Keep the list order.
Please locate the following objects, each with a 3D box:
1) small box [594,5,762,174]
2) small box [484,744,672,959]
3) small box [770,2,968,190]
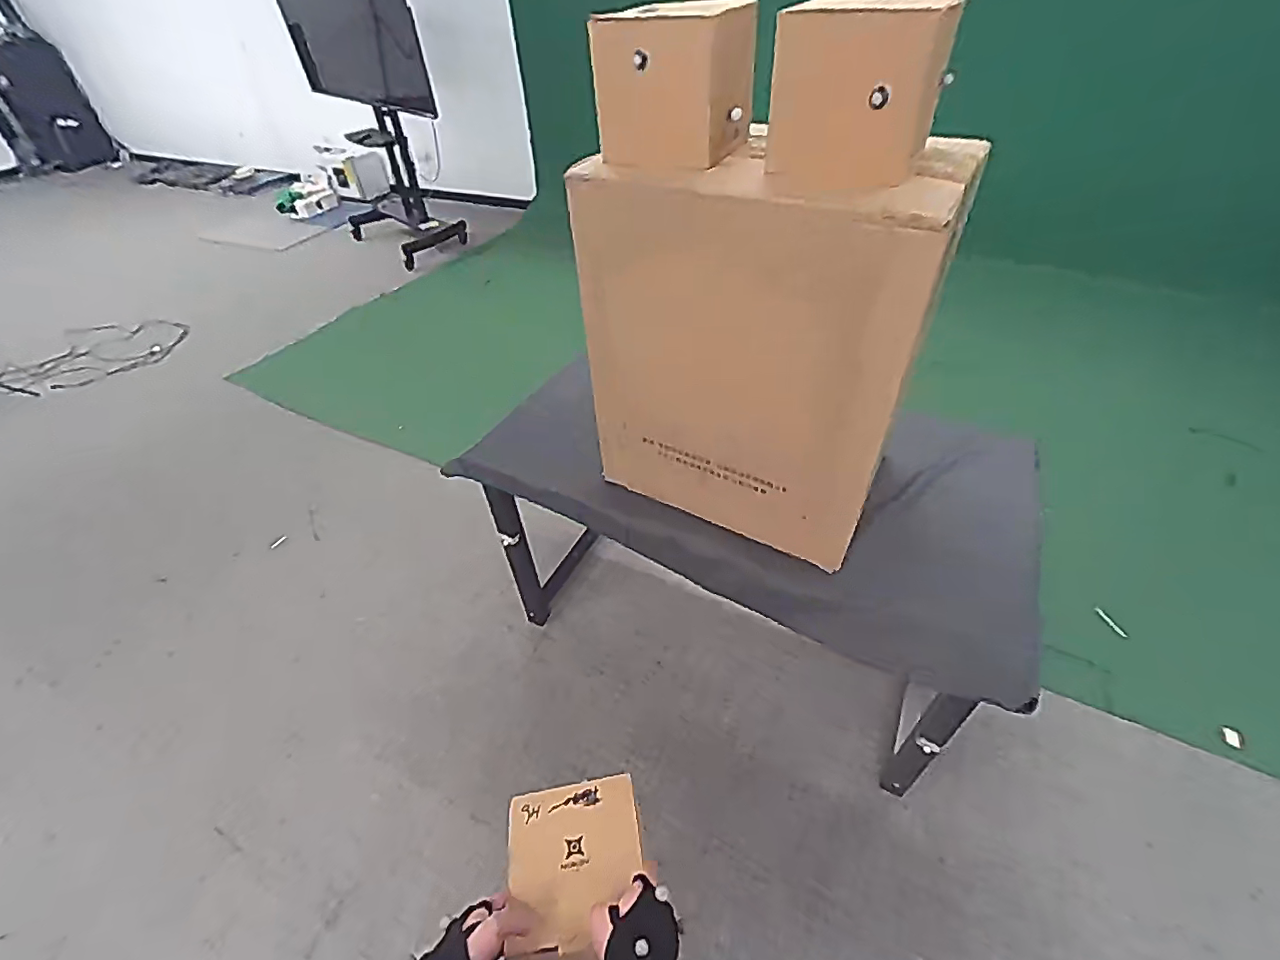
[{"bbox_3d":[0.060,-0.561,0.782,0.179,0.176,0.168,21,52,26],"label":"small box"},{"bbox_3d":[-0.074,0.507,0.718,0.179,0.176,0.168,-29,38,-27],"label":"small box"},{"bbox_3d":[0.281,-0.484,0.688,0.179,0.176,0.168,20,49,25],"label":"small box"}]
